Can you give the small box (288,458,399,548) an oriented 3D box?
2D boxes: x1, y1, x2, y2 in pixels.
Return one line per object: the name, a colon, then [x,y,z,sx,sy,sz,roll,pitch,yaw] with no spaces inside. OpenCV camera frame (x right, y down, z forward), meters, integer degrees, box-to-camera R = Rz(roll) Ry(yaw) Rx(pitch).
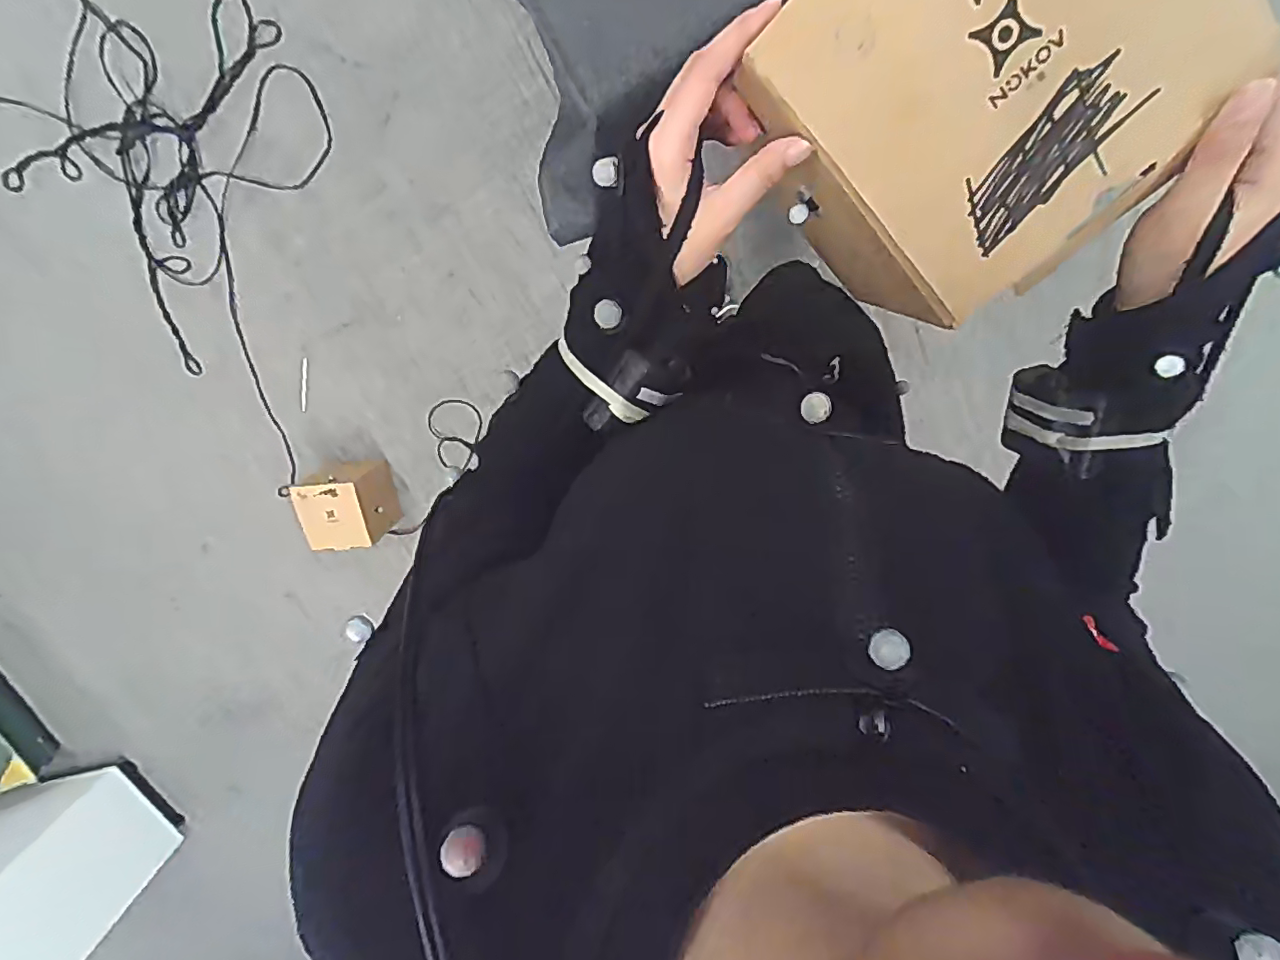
small box: [-0.745,0.055,1.382,0.168,0.176,0.179,-4,112,5]
